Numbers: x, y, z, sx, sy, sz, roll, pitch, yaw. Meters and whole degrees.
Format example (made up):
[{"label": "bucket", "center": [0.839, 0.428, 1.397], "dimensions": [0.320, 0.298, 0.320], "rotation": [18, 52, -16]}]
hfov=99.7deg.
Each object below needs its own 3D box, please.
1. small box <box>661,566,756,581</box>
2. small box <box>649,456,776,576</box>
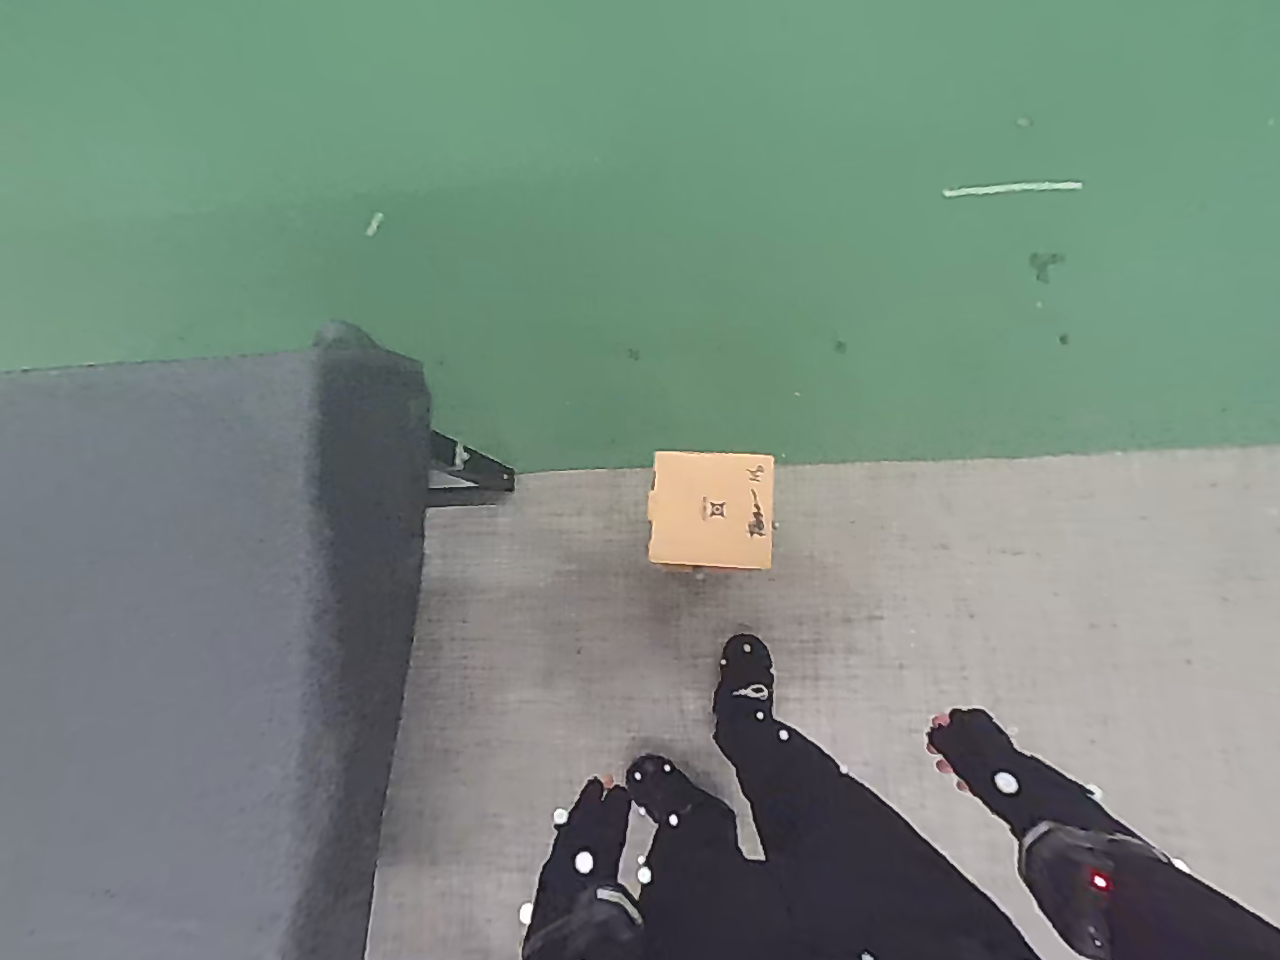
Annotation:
[{"label": "small box", "center": [0.131, 0.095, 1.018], "dimensions": [0.168, 0.176, 0.179], "rotation": [2, 81, 7]}, {"label": "small box", "center": [0.117, 0.063, 0.859], "dimensions": [0.179, 0.176, 0.168], "rotation": [3, 81, 8]}]
